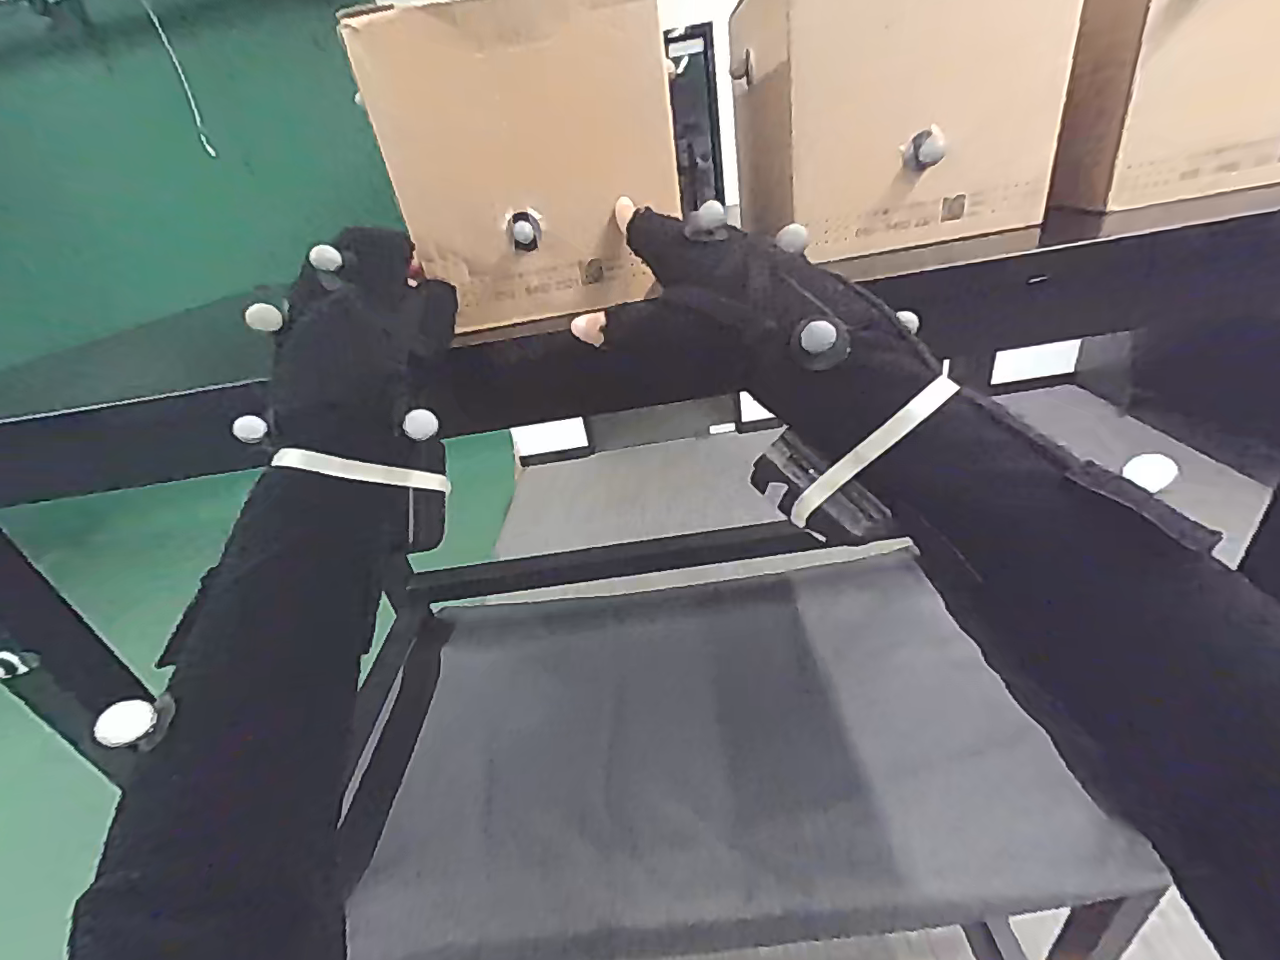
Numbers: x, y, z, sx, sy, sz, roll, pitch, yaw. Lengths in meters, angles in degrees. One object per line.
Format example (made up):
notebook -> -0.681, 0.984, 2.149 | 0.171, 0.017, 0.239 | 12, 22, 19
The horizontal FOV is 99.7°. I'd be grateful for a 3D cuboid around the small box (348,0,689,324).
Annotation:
small box -> -0.065, -0.221, 0.388 | 0.168, 0.176, 0.179 | -11, 29, 1
